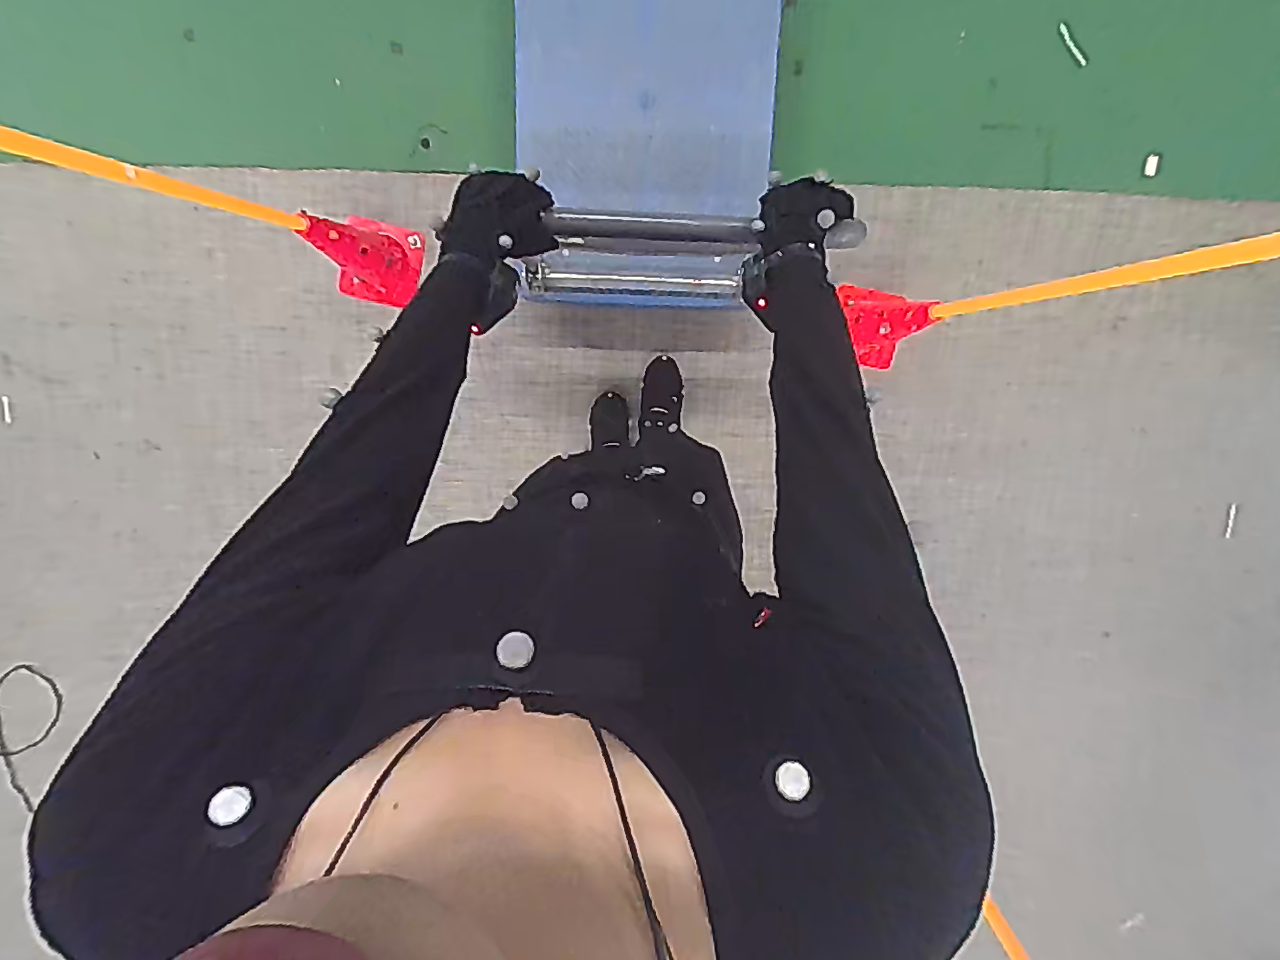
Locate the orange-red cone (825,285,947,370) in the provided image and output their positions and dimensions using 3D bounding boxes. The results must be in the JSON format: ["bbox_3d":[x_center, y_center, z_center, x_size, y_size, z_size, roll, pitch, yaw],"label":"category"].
[{"bbox_3d":[0.615,-0.379,1.289,0.198,0.360,0.199,12,100,-3],"label":"orange-red cone"}]
